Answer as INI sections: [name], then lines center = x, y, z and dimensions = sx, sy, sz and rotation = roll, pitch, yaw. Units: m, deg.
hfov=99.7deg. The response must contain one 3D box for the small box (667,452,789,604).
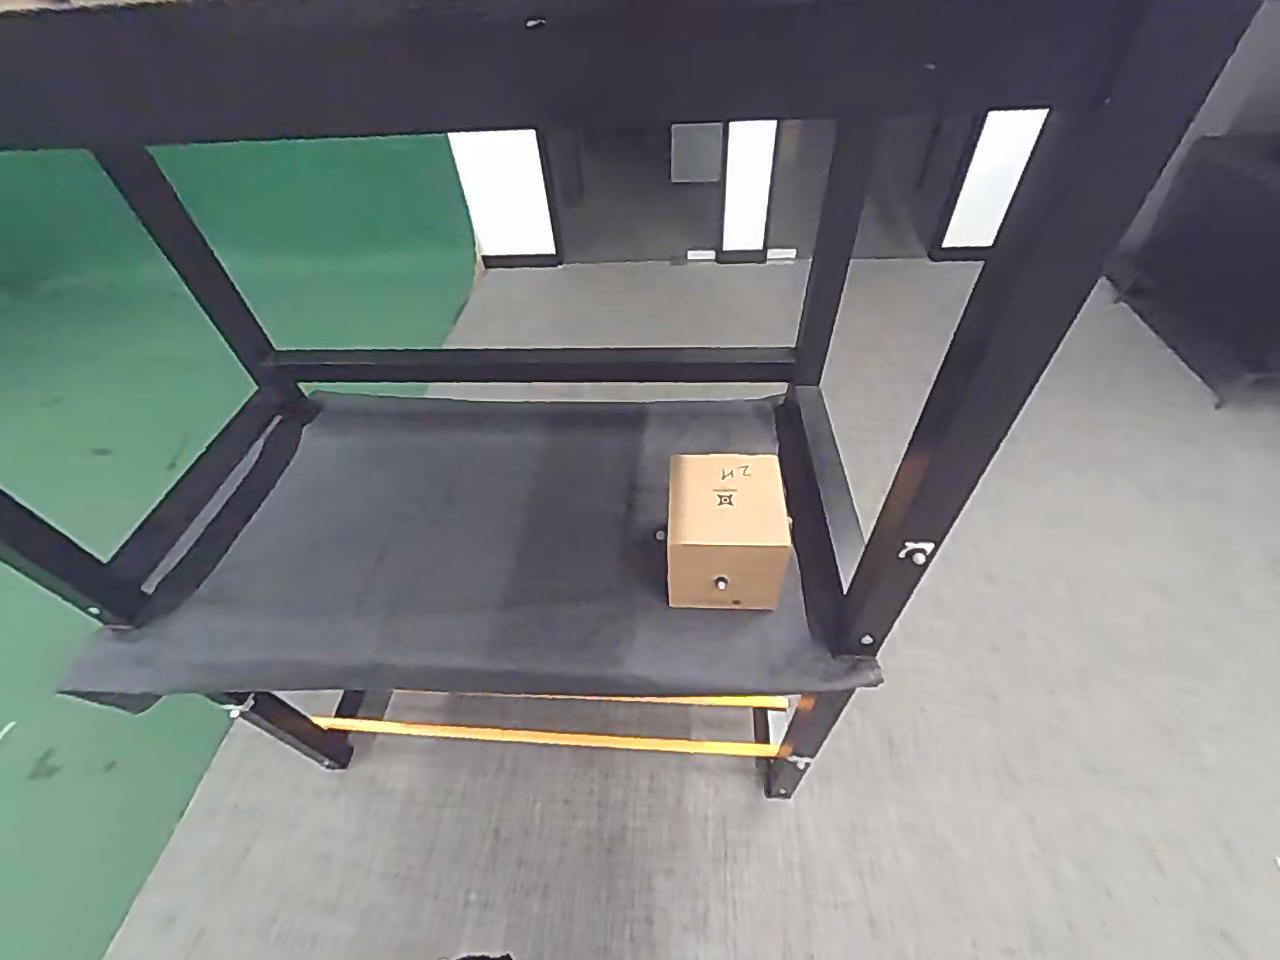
[small box]
center = 0.129, 0.076, 0.836
dimensions = 0.168, 0.176, 0.179
rotation = 1, 47, 5
